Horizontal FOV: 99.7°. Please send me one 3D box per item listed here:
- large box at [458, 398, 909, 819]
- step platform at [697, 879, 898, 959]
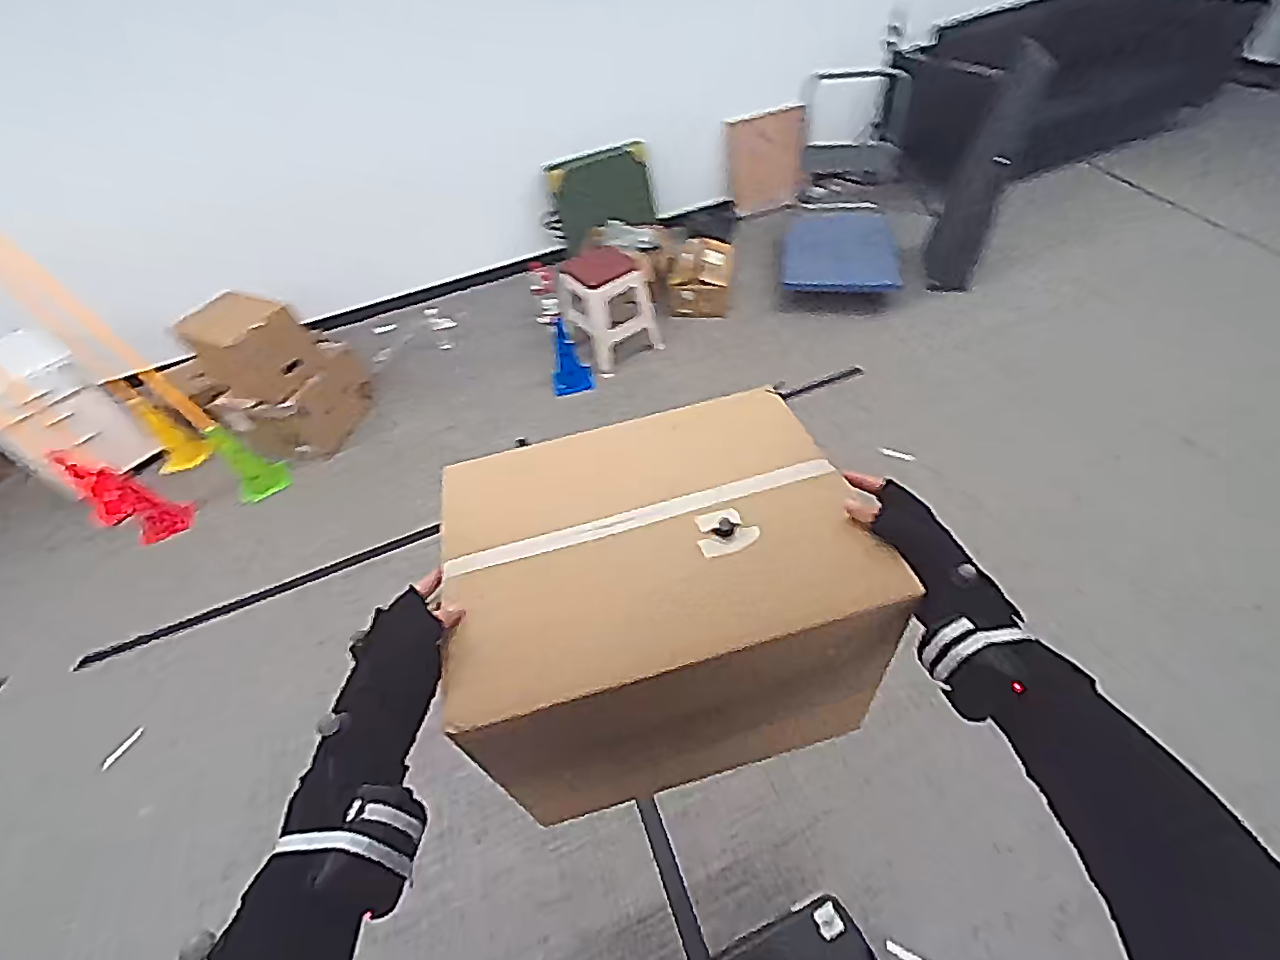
[{"bbox_3d":[0.026,0.151,0.659,0.408,0.320,0.320,-14,46,-5],"label":"large box"},{"bbox_3d":[0.218,1.125,1.099,0.684,0.204,0.286,-22,49,-12],"label":"step platform"}]
